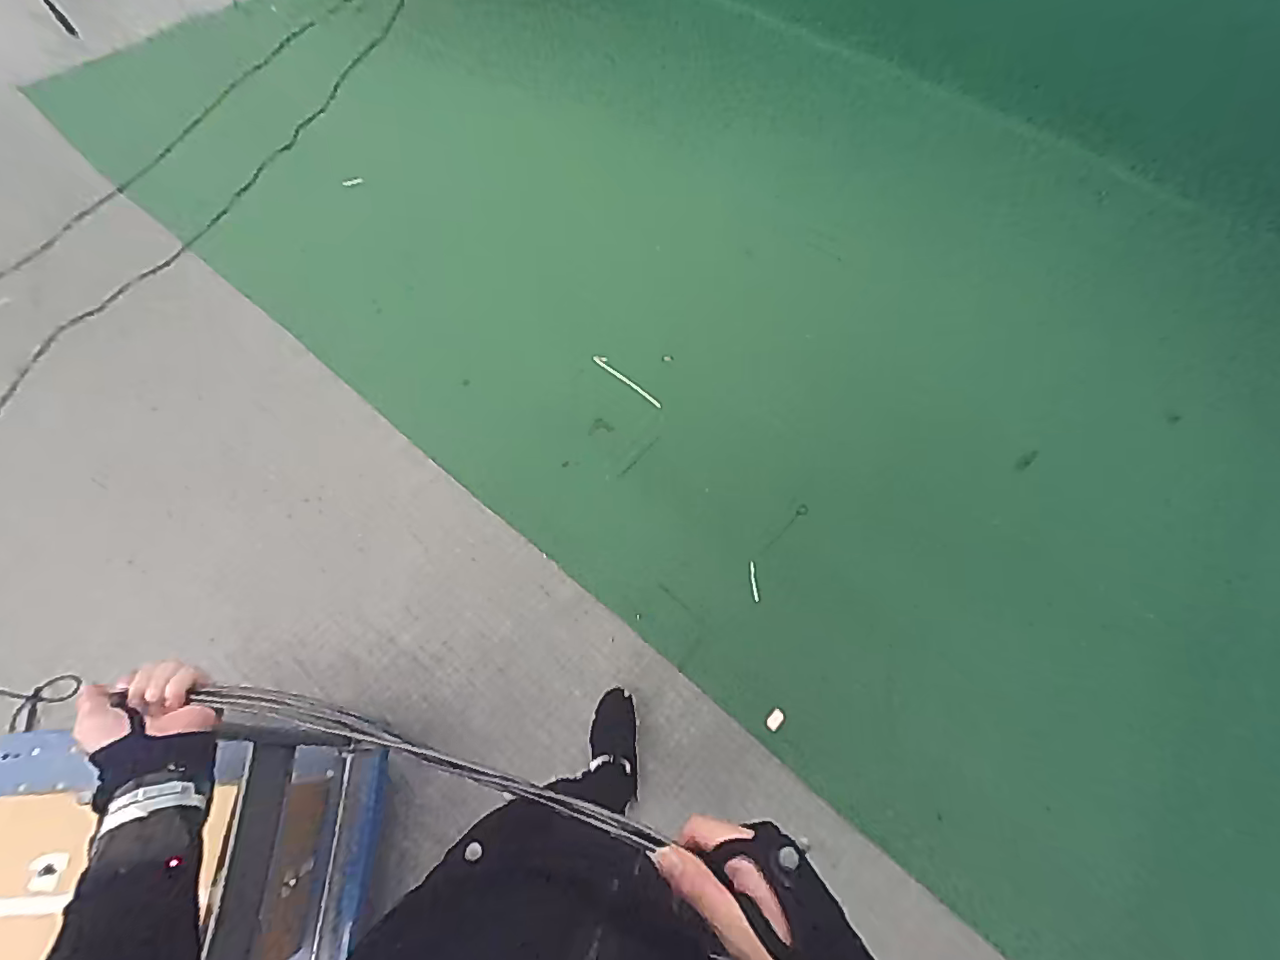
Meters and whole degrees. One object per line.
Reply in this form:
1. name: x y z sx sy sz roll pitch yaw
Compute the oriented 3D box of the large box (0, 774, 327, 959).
1. large box: -0.870 0.730 0.985 0.408 0.320 0.320 -2 63 -1
